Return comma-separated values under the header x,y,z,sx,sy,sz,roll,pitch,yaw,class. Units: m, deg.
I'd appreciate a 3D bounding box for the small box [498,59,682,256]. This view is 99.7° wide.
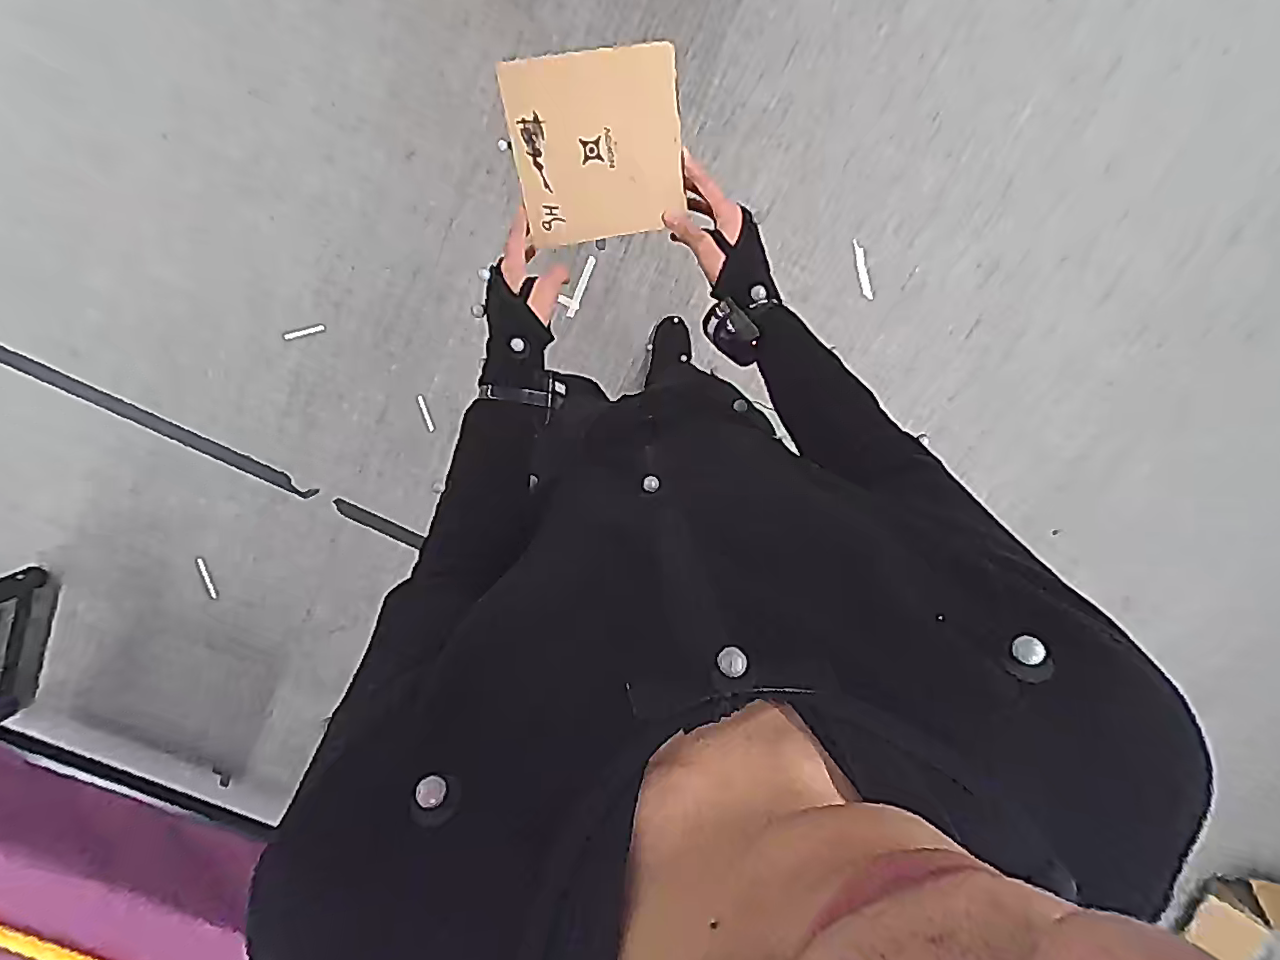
x,y,z,sx,sy,sz,roll,pitch,yaw,class
-0.061,-0.369,0.638,0.179,0.176,0.168,-12,116,-6,small box
